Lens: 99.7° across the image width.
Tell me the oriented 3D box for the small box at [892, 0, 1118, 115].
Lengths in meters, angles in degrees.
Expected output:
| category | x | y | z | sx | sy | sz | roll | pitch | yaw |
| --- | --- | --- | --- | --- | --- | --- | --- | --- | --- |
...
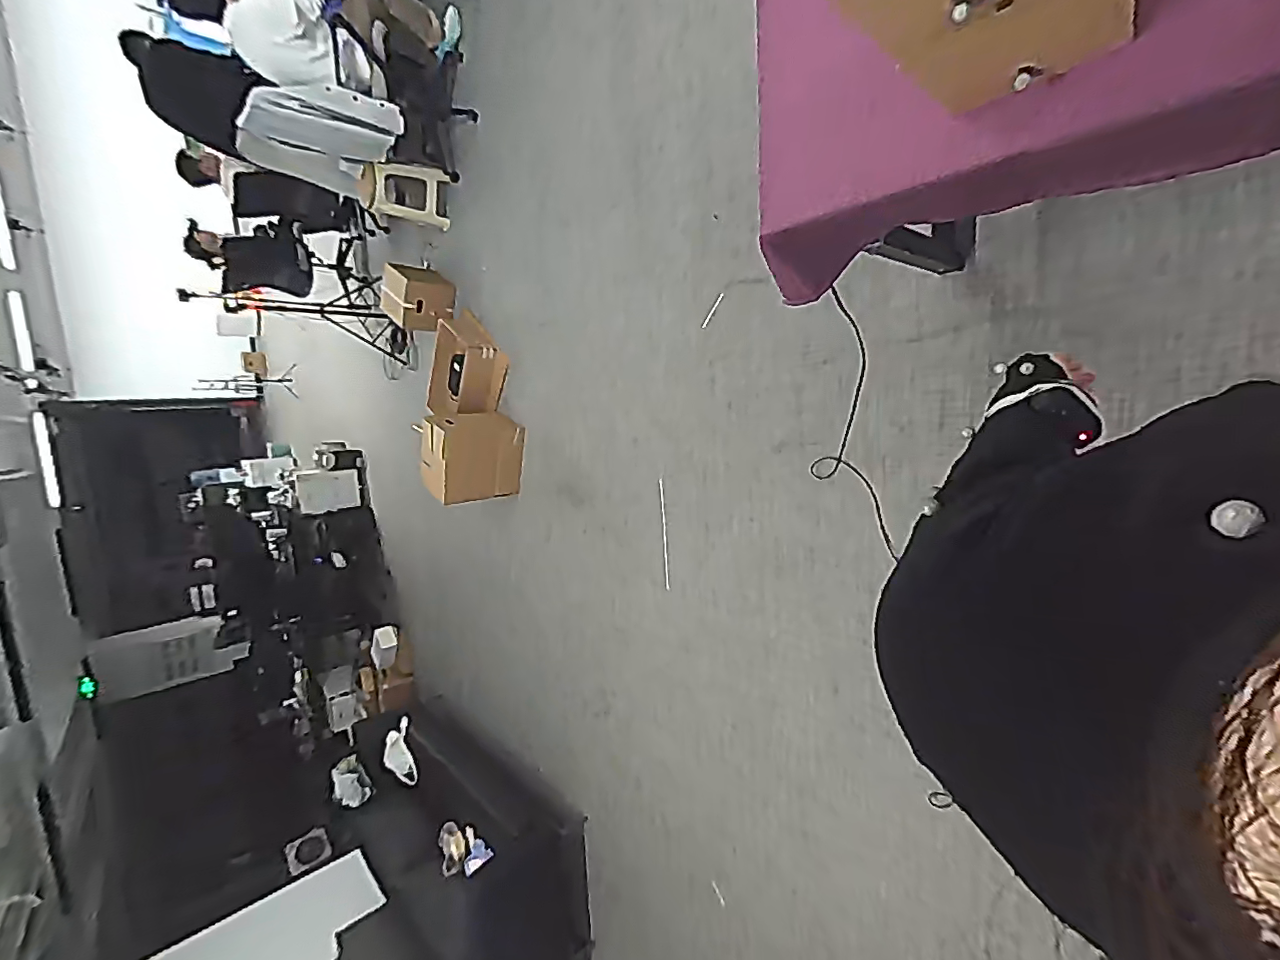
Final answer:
| category | x | y | z | sx | sy | sz | roll | pitch | yaw |
| --- | --- | --- | --- | --- | --- | --- | --- | --- | --- |
| small box | 0.389 | -0.532 | 0.574 | 0.179 | 0.176 | 0.168 | 4 | 99 | 47 |
